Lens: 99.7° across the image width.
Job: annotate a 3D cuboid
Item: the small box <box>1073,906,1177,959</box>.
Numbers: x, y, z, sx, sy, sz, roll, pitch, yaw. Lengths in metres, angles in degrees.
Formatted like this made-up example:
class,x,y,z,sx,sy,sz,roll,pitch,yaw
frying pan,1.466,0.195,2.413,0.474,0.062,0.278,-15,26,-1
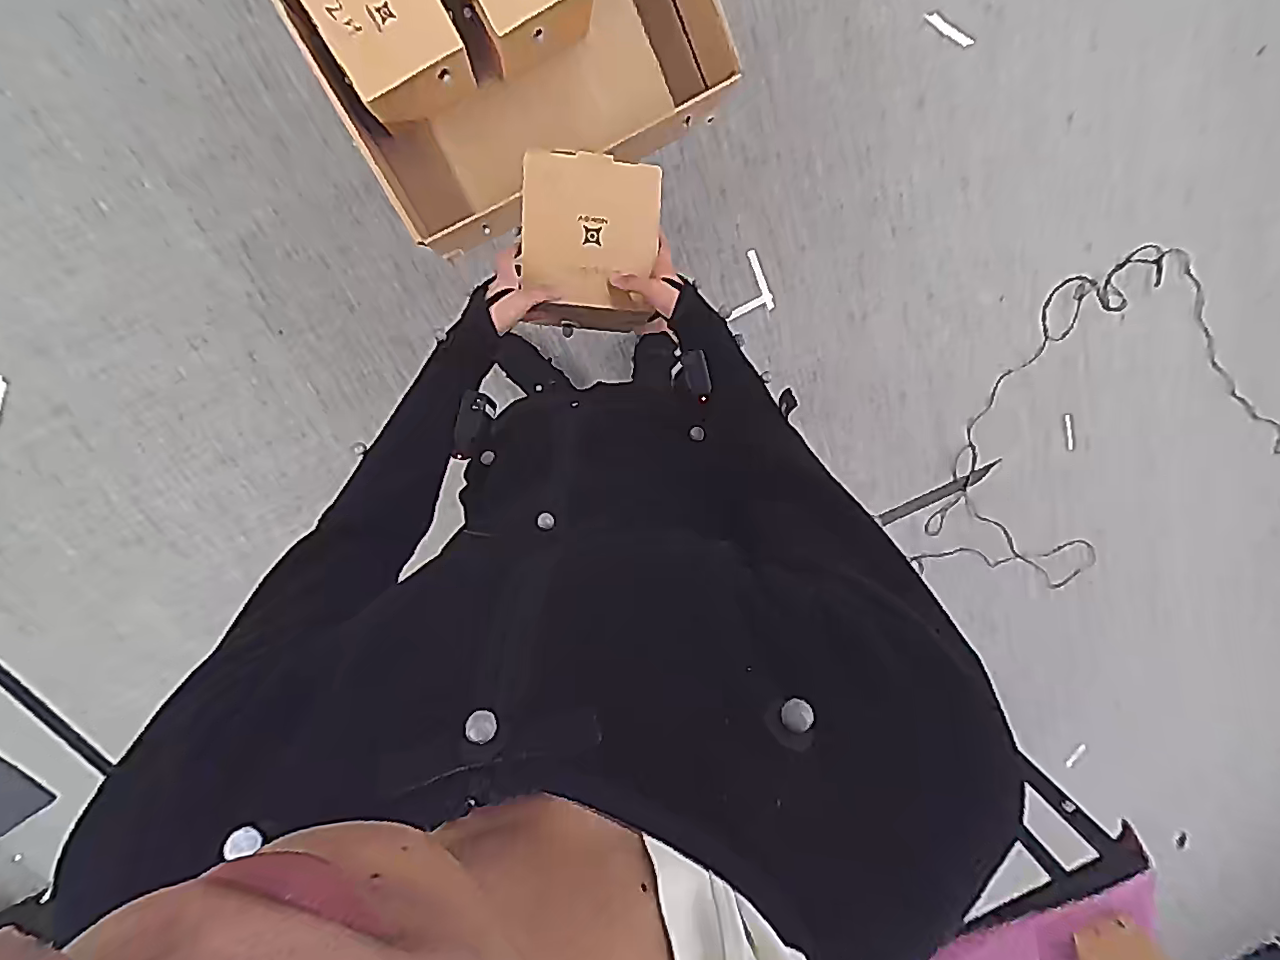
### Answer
class,x,y,z,sx,sy,sz,roll,pitch,yaw
small box,1.374,1.357,1.532,0.168,0.176,0.179,-26,113,0

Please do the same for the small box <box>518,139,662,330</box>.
class,x,y,z,sx,sy,sz,roll,pitch,yaw
small box,-0.074,-0.308,0.716,0.168,0.176,0.179,2,97,-12
